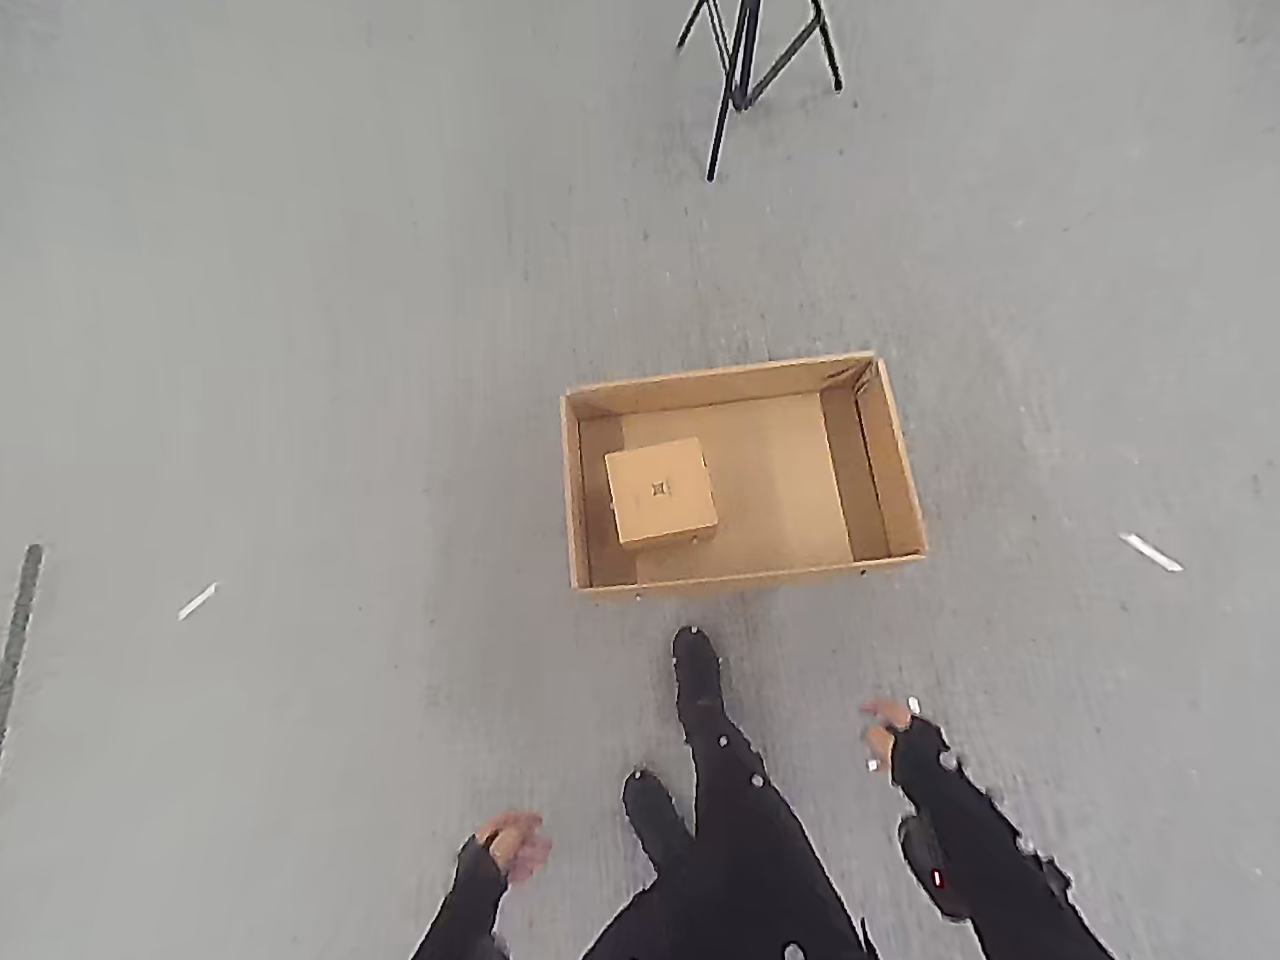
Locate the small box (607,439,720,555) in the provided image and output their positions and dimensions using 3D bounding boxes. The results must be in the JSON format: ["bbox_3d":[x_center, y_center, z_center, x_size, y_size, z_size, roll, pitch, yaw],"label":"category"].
[{"bbox_3d":[0.044,0.039,1.023,0.179,0.176,0.168,-11,73,2],"label":"small box"}]
